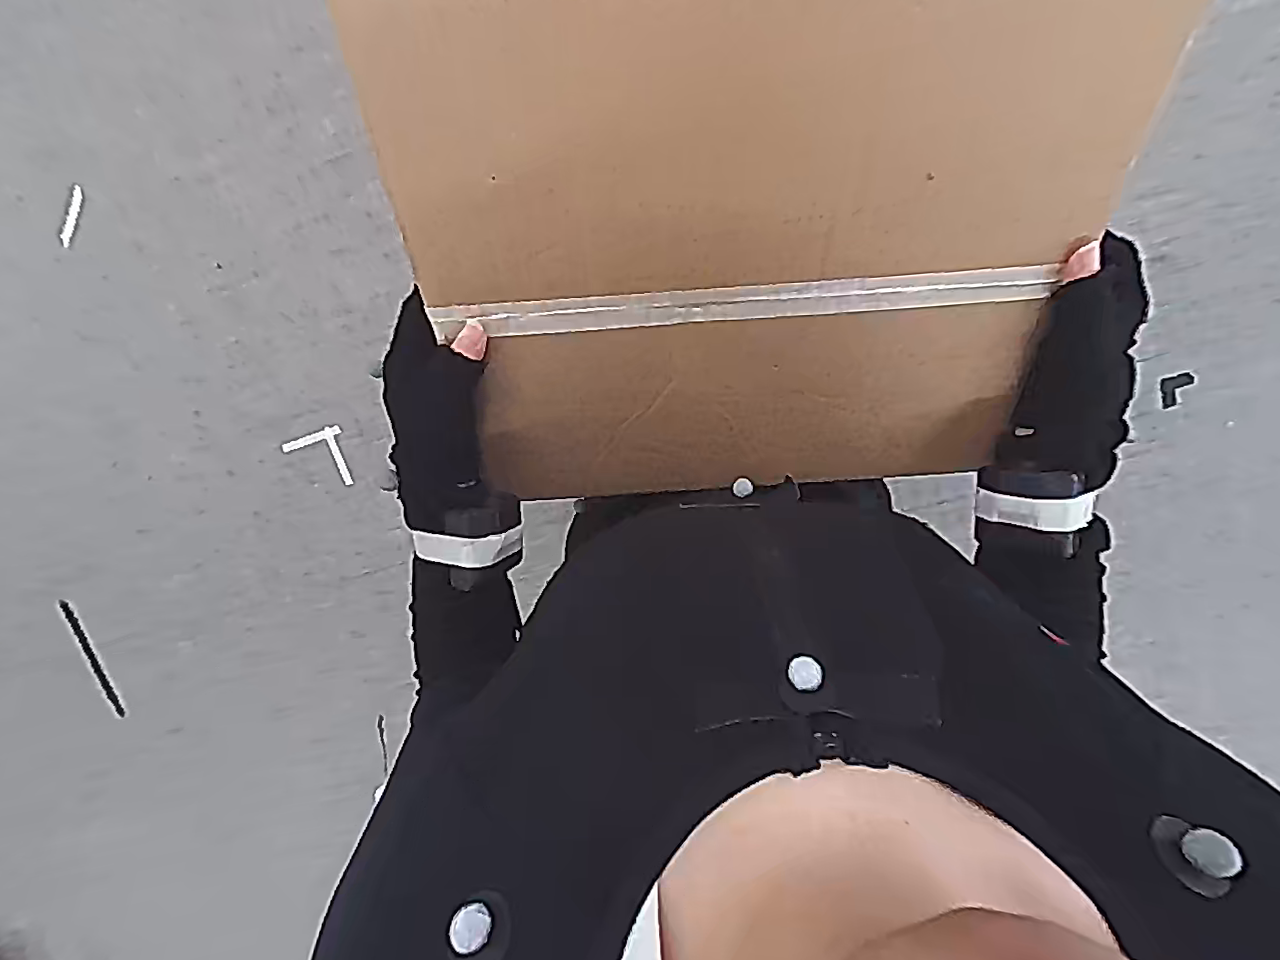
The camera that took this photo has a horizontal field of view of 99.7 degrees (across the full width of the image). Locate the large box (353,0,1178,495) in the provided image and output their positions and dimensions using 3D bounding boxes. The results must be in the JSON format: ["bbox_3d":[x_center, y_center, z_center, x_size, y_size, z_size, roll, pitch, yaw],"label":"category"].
[{"bbox_3d":[0.064,-0.215,0.461,0.408,0.320,0.320,-4,131,0],"label":"large box"}]
